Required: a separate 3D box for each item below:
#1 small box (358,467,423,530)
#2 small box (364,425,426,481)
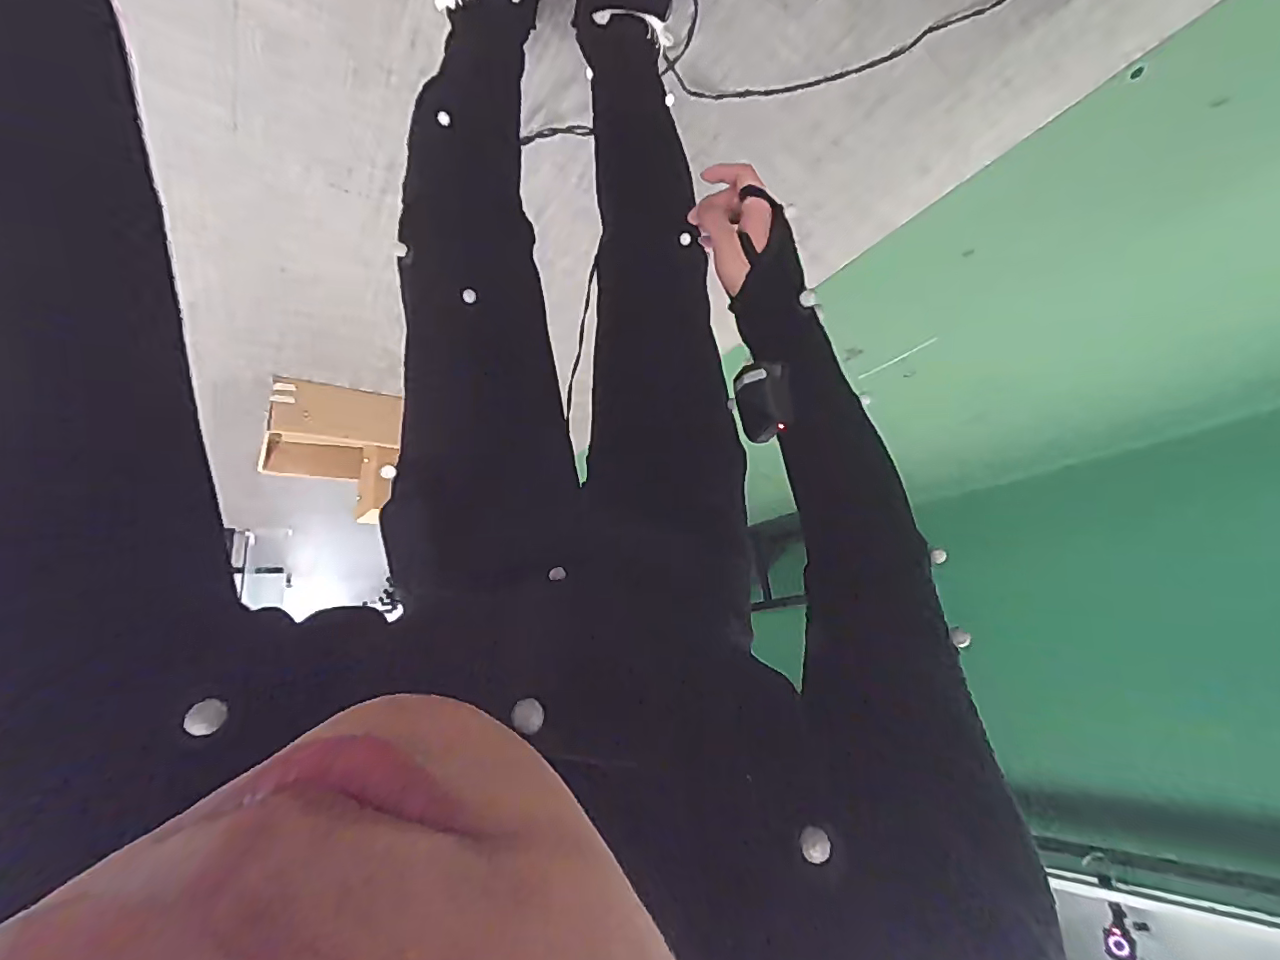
[{"bbox_3d":[-0.898,0.069,1.955,0.168,0.176,0.179,14,152,-42],"label":"small box"},{"bbox_3d":[-0.907,-0.085,2.008,0.168,0.176,0.179,13,153,-38],"label":"small box"}]
